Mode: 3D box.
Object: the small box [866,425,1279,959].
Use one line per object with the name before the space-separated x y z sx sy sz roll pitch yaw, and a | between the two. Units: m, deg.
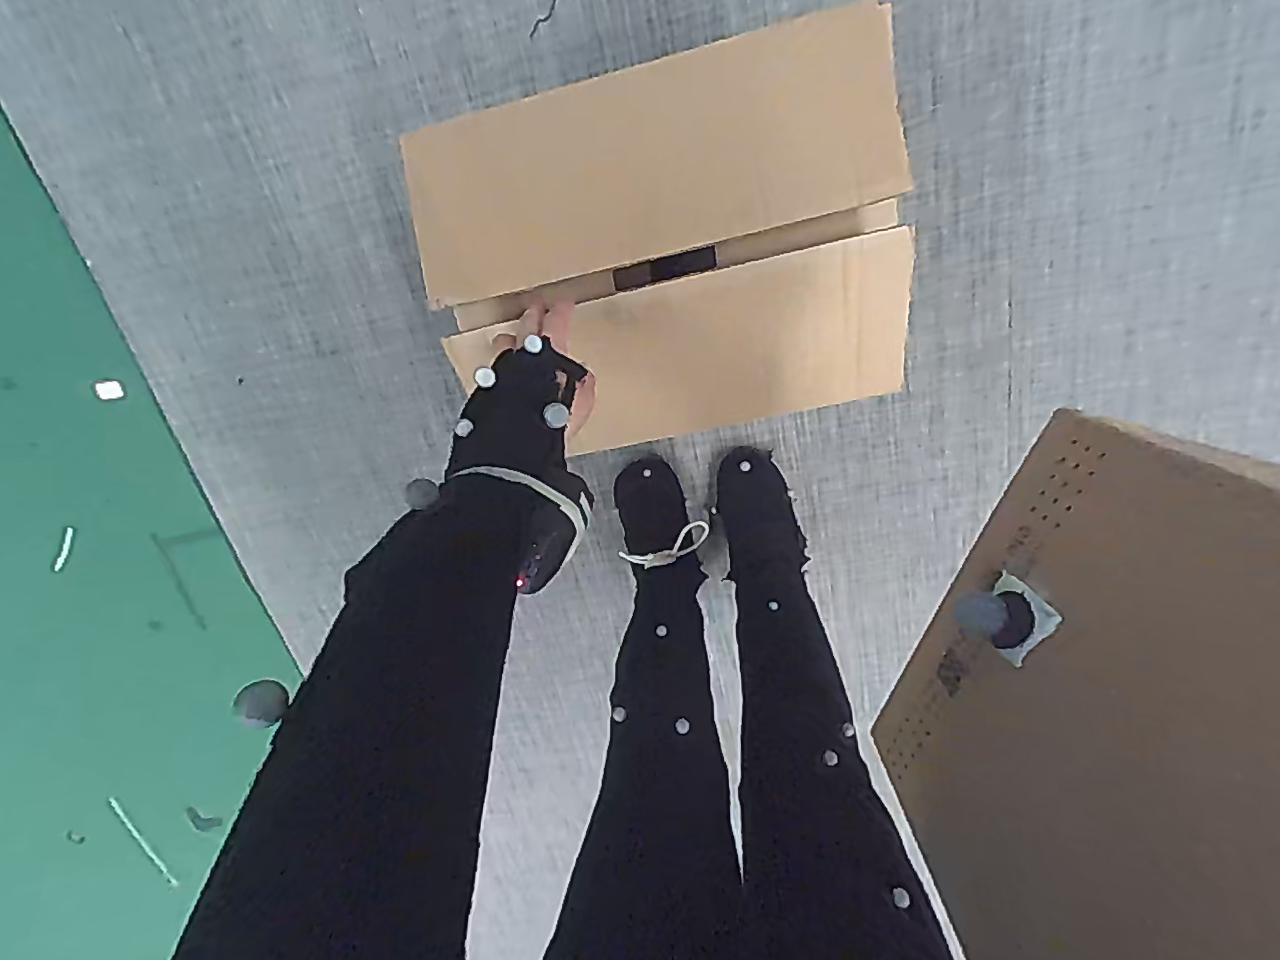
small box | 0.202 0.095 0.160 0.179 0.176 0.168 14 111 -2
